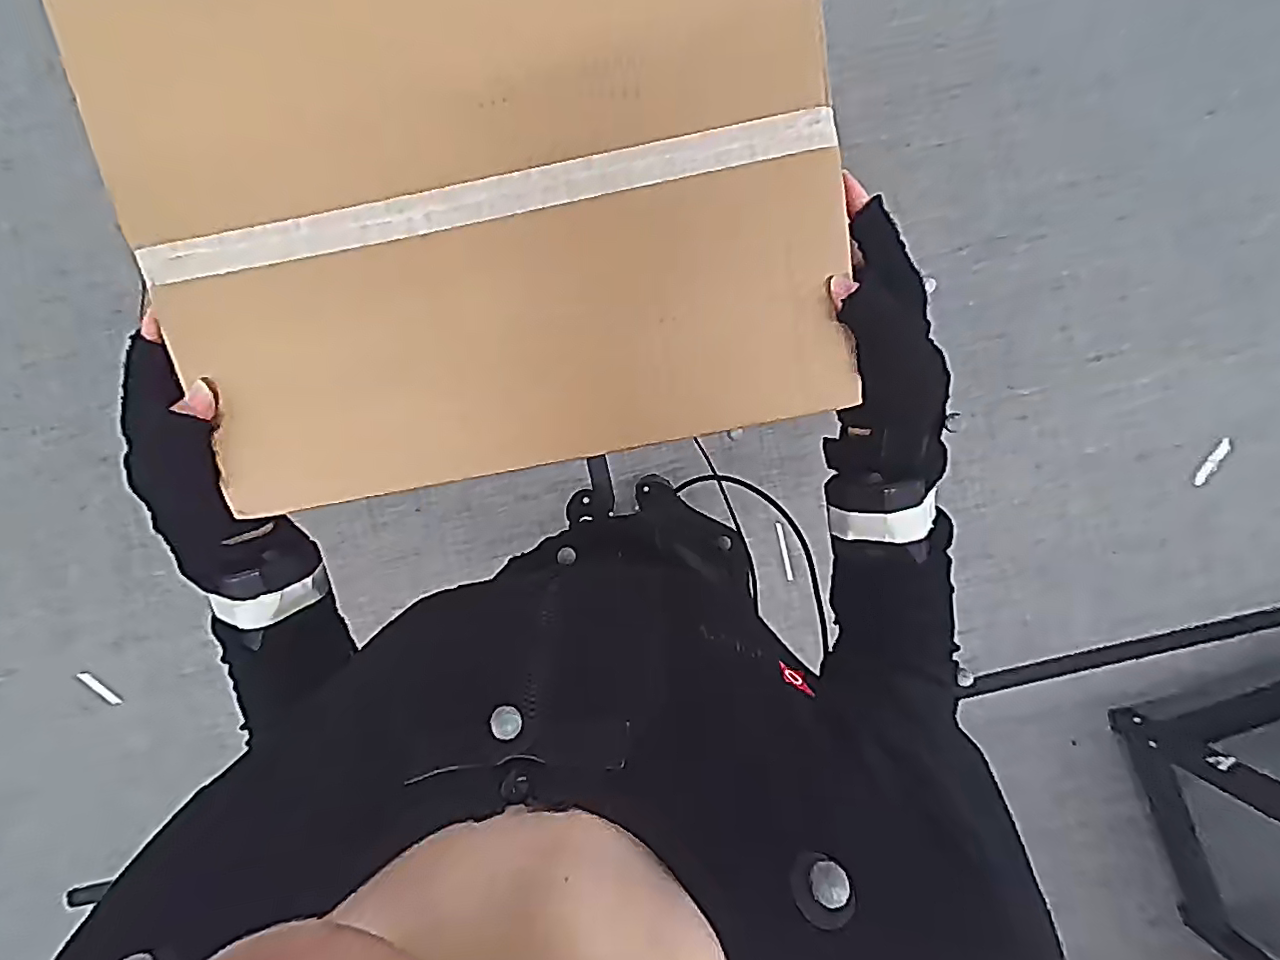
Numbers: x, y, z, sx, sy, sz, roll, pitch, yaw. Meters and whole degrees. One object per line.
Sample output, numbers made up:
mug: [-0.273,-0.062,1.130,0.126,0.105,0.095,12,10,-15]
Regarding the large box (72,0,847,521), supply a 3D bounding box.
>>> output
large box: [-0.089,-0.190,0.465,0.408,0.320,0.320,-11,102,2]
